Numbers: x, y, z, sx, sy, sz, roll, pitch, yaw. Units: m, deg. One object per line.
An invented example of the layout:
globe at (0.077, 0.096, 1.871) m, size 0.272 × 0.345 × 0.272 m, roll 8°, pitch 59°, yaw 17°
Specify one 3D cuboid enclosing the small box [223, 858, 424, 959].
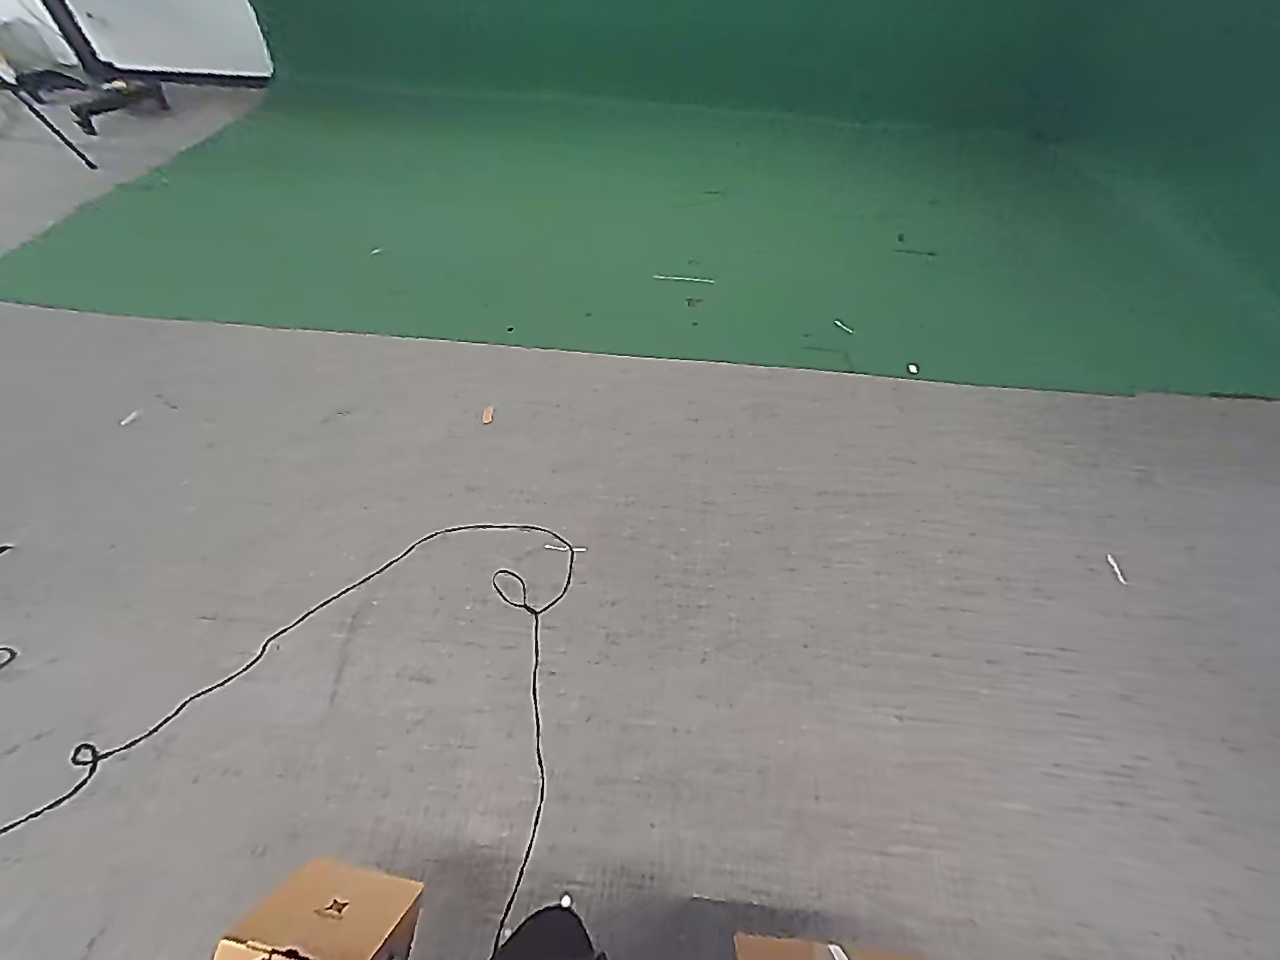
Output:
small box at (-0.397, 0.614, 0.661) m, size 0.168 × 0.179 × 0.176 m, roll 11°, pitch 81°, yaw 3°
